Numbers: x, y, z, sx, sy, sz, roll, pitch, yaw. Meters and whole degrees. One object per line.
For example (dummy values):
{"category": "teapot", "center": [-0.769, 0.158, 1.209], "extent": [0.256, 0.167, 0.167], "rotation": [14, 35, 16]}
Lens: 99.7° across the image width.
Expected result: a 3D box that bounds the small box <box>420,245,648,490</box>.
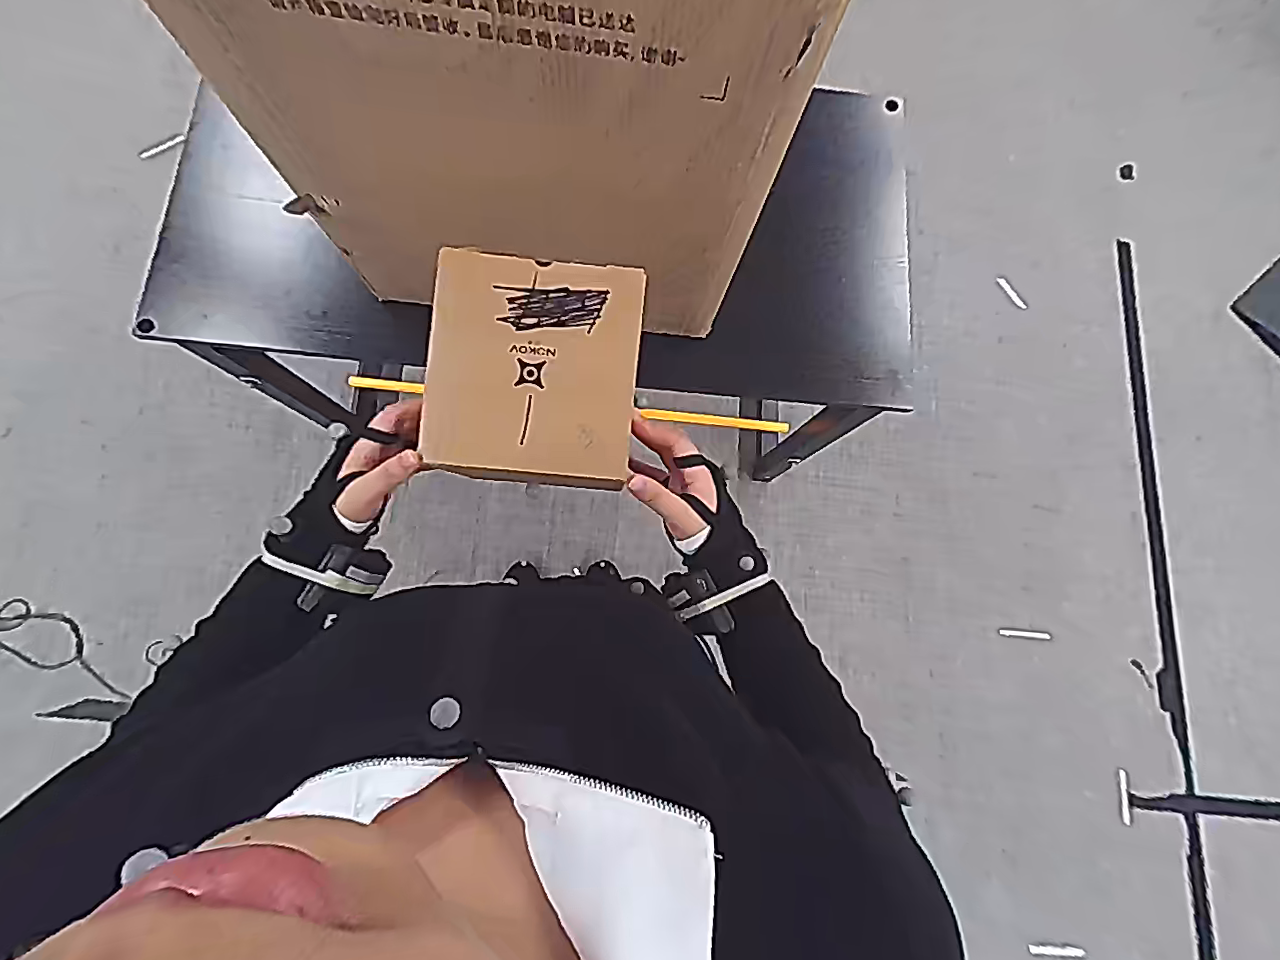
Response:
{"category": "small box", "center": [-0.087, -0.089, 0.508], "extent": [0.168, 0.176, 0.179], "rotation": [5, 86, -3]}
